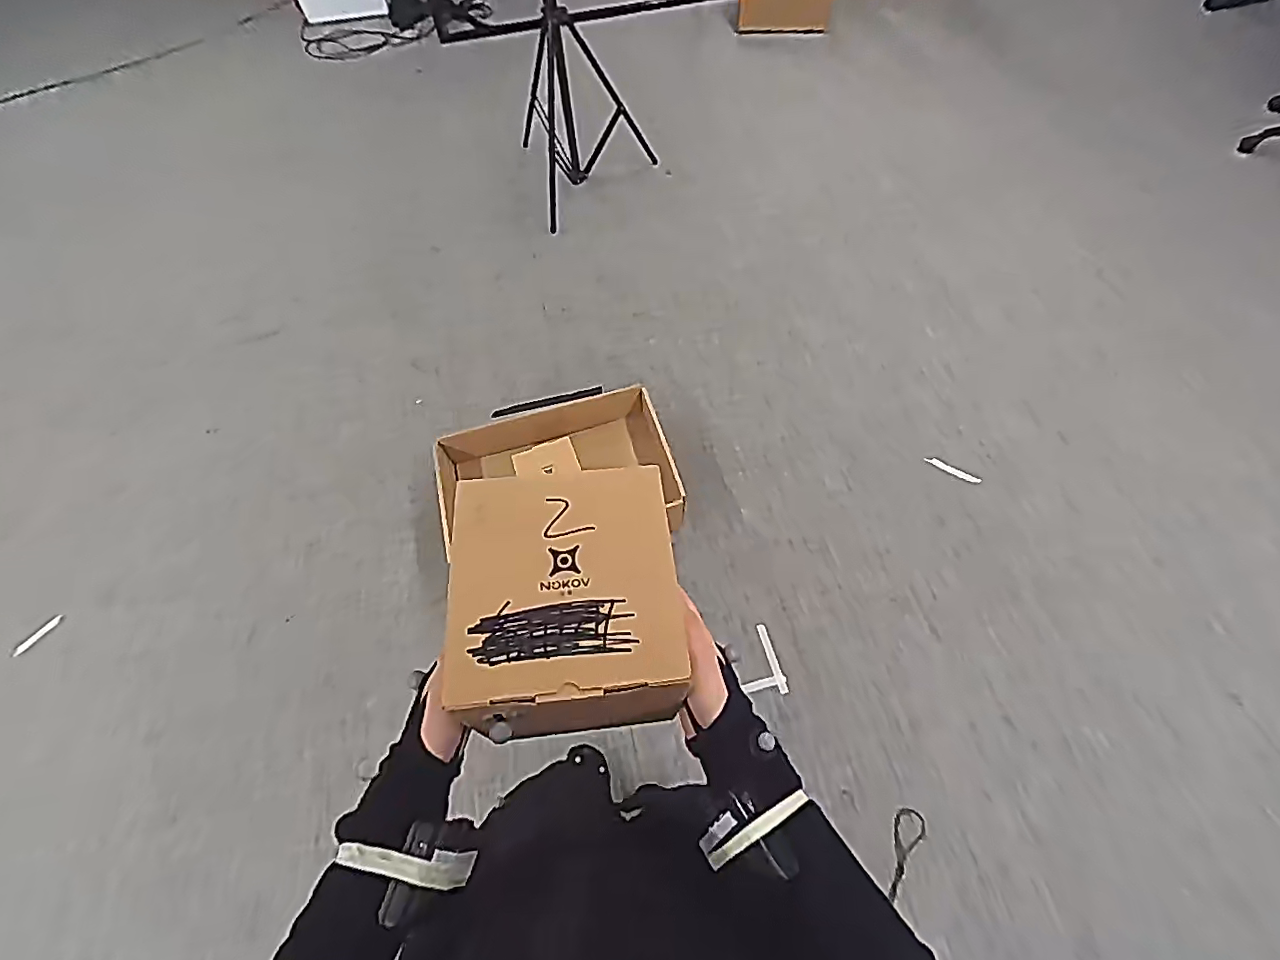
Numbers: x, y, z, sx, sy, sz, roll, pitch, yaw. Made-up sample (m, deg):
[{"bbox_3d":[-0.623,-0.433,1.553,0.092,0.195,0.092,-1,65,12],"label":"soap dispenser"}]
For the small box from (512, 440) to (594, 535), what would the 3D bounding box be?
[{"bbox_3d":[-0.235,0.024,1.485,0.168,0.176,0.179,-21,64,-7],"label":"small box"}]
